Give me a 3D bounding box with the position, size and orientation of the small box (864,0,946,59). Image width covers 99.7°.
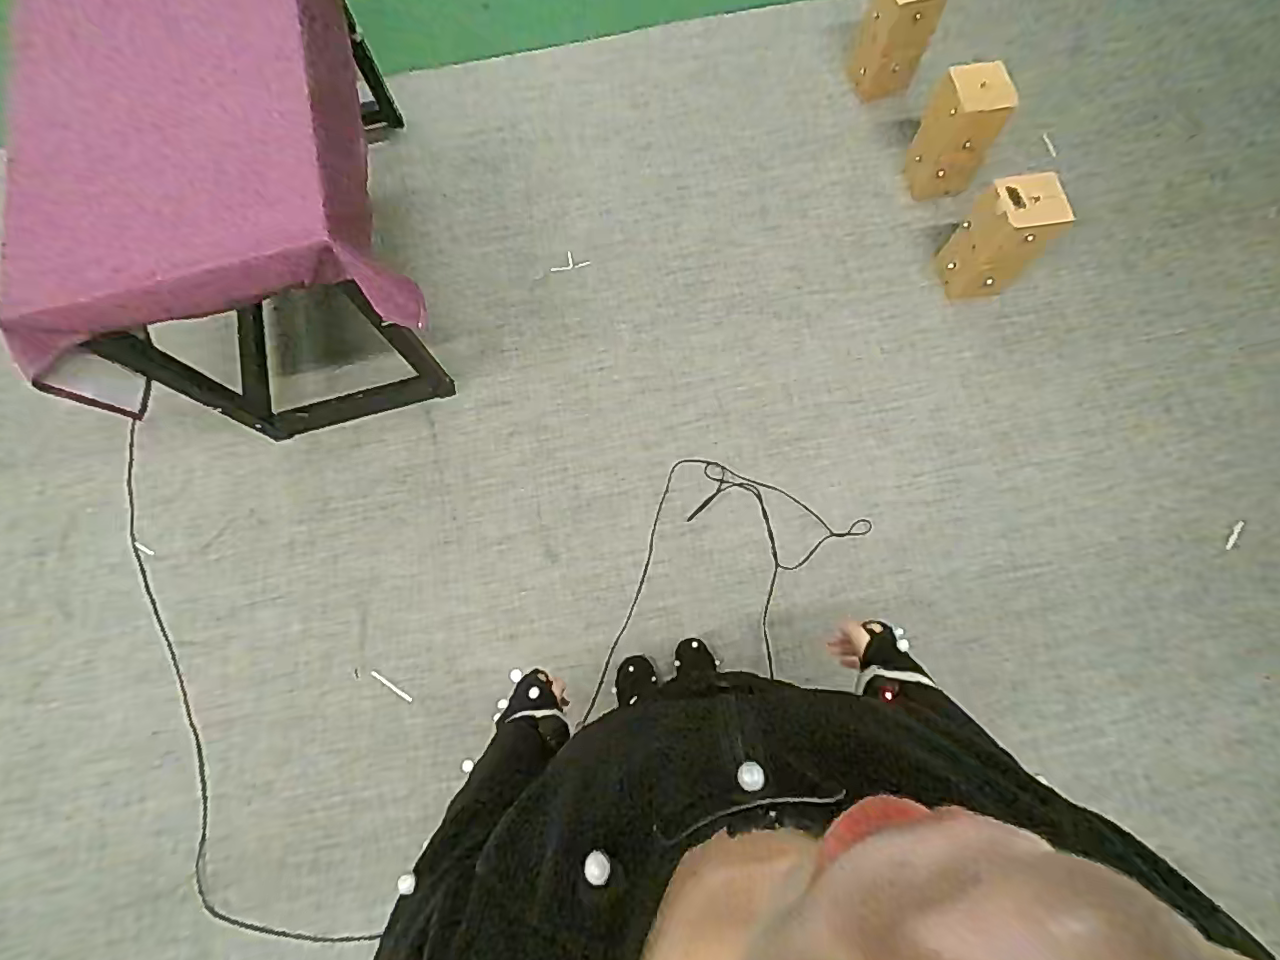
[{"bbox_3d":[0.859,-1.529,1.773,0.179,0.176,0.168,-14,75,-3],"label":"small box"}]

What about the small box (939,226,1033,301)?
[{"bbox_3d":[1.071,-0.685,1.698,0.179,0.176,0.168,-10,75,-1],"label":"small box"}]

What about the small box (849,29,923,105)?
[{"bbox_3d":[0.867,-1.484,1.931,0.179,0.176,0.168,-13,75,-3],"label":"small box"}]

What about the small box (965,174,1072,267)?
[{"bbox_3d":[1.062,-0.730,1.540,0.179,0.176,0.168,-8,74,-2],"label":"small box"}]

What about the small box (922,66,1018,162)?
[{"bbox_3d":[0.996,-1.114,1.652,0.168,0.176,0.179,-8,74,-1],"label":"small box"}]
